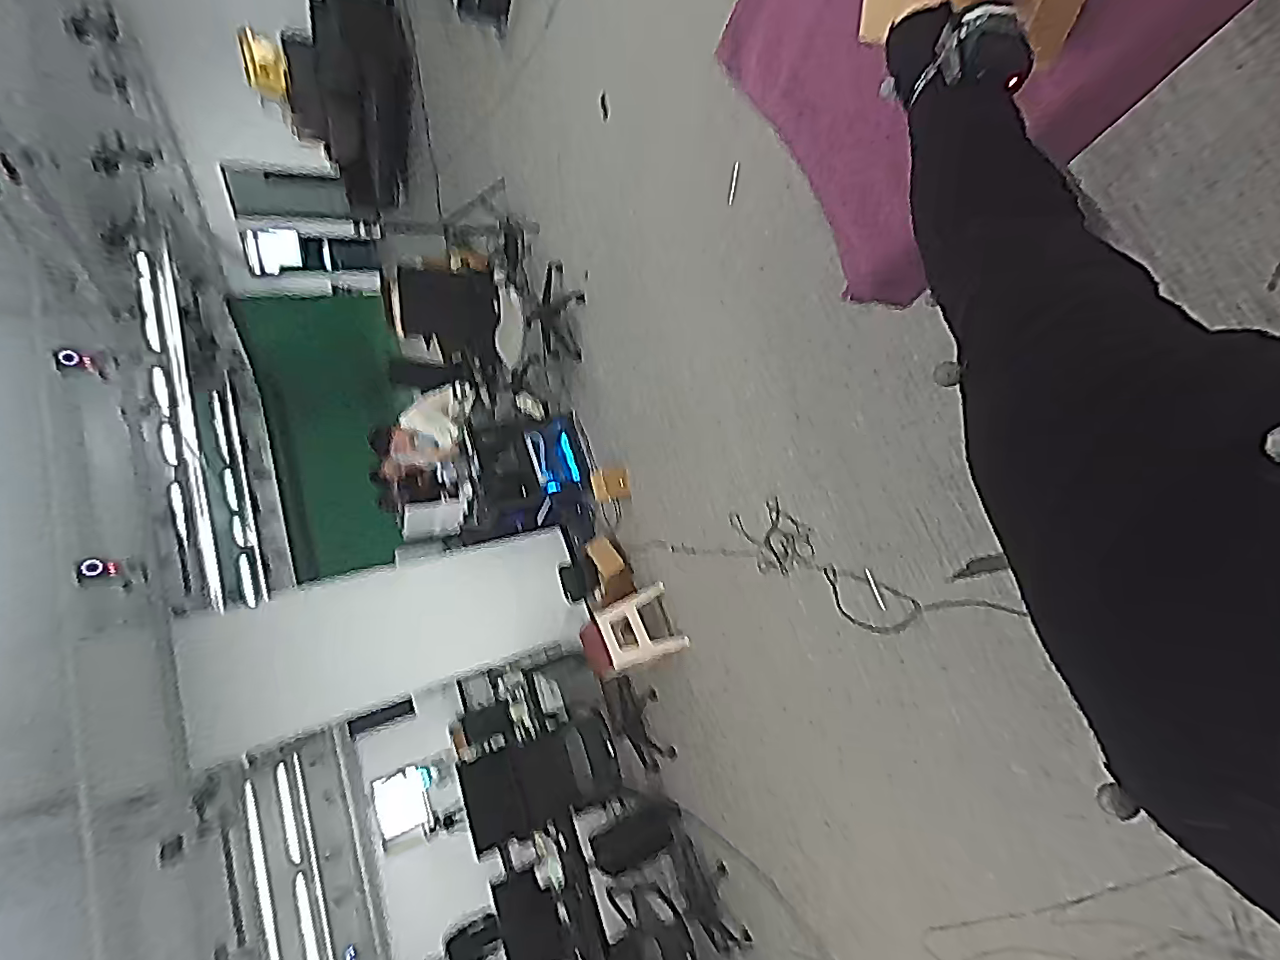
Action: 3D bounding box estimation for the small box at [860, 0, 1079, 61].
[{"bbox_3d":[0.362,-0.548,0.547,0.168,0.176,0.179,36,138,29],"label":"small box"}]
